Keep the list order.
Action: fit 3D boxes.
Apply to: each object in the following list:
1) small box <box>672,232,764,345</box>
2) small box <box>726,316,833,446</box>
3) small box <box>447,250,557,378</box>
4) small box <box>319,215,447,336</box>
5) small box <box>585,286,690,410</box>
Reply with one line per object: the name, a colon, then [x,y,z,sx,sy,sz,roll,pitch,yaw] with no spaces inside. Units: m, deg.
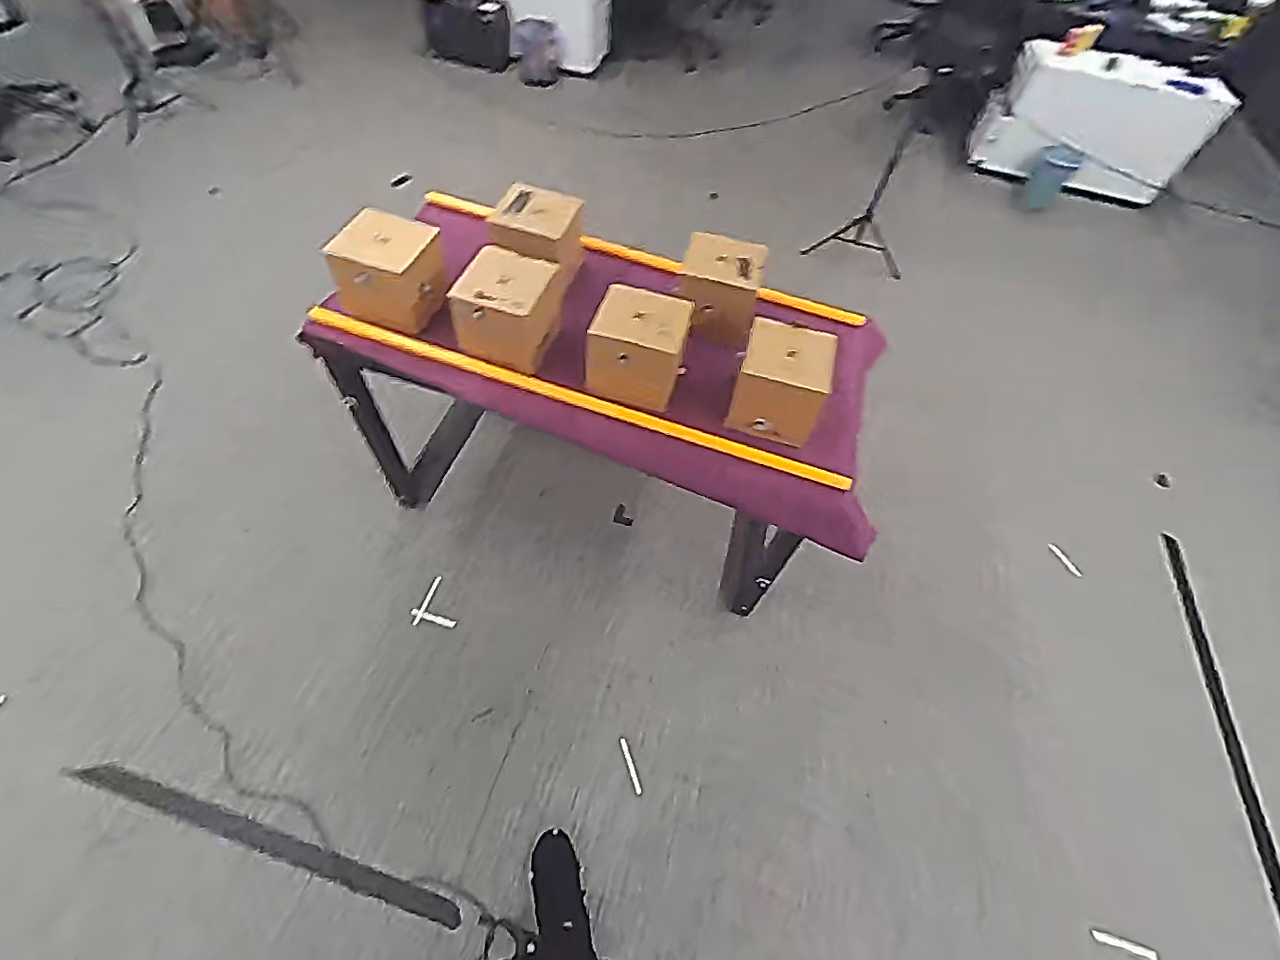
small box: [0.173,-0.440,1.257,0.179,0.176,0.168,14,57,4]
small box: [0.281,-0.201,1.108,0.168,0.176,0.179,15,54,6]
small box: [-0.283,-0.352,1.153,0.168,0.176,0.179,16,56,5]
small box: [-0.546,-0.441,1.183,0.179,0.176,0.168,16,56,4]
small box: [-0.009,-0.270,1.125,0.179,0.176,0.168,15,55,4]
